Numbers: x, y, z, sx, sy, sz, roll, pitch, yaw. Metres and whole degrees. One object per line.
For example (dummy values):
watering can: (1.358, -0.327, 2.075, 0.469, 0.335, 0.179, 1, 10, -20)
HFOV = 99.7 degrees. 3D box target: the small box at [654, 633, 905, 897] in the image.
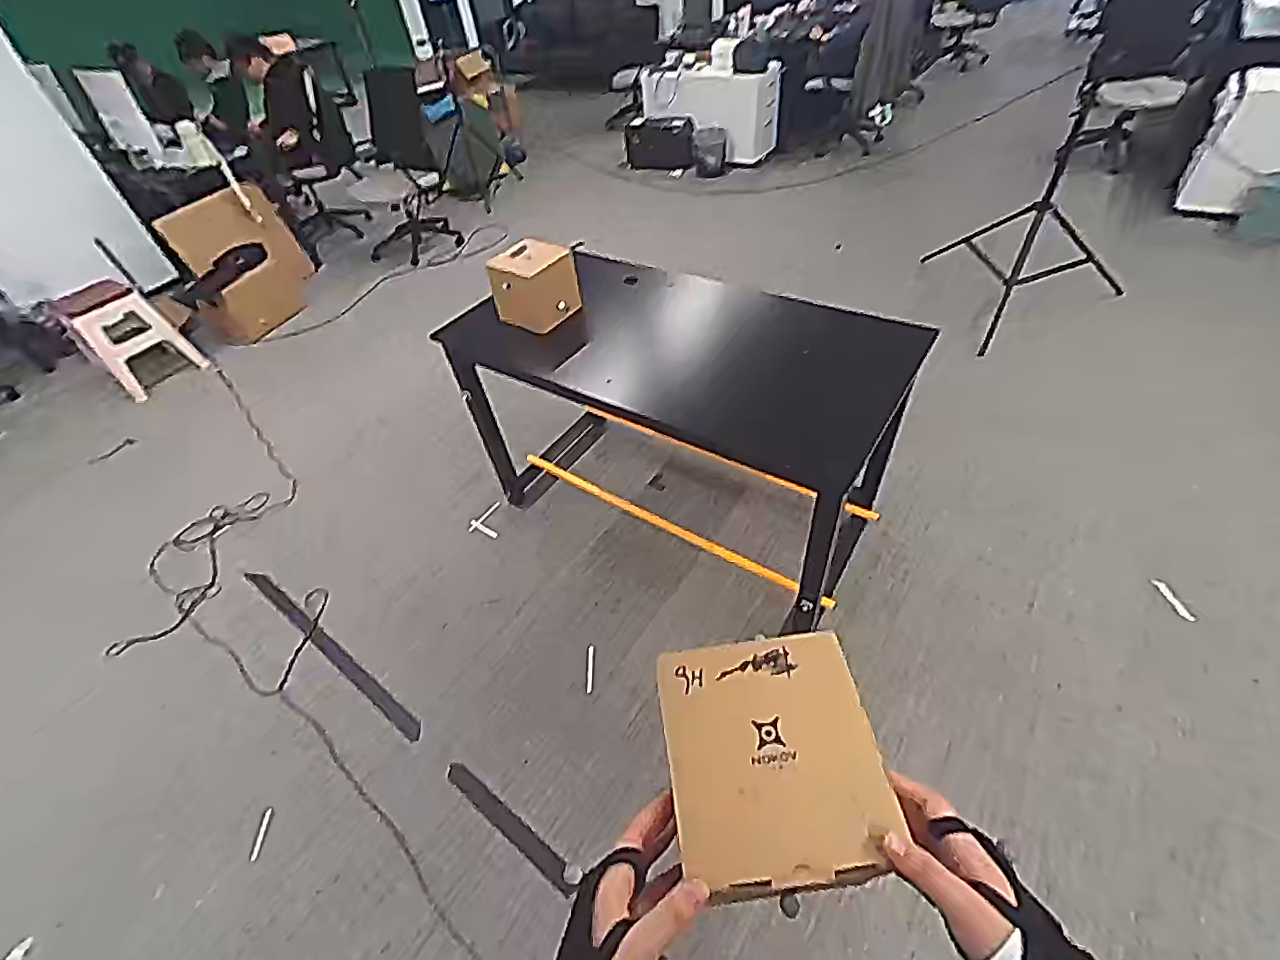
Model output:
small box: (0.108, 0.265, 0.498, 0.168, 0.176, 0.179, -8, 51, -1)

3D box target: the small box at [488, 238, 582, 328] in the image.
small box: (-0.284, -0.545, 1.499, 0.179, 0.176, 0.168, 25, 55, 26)
